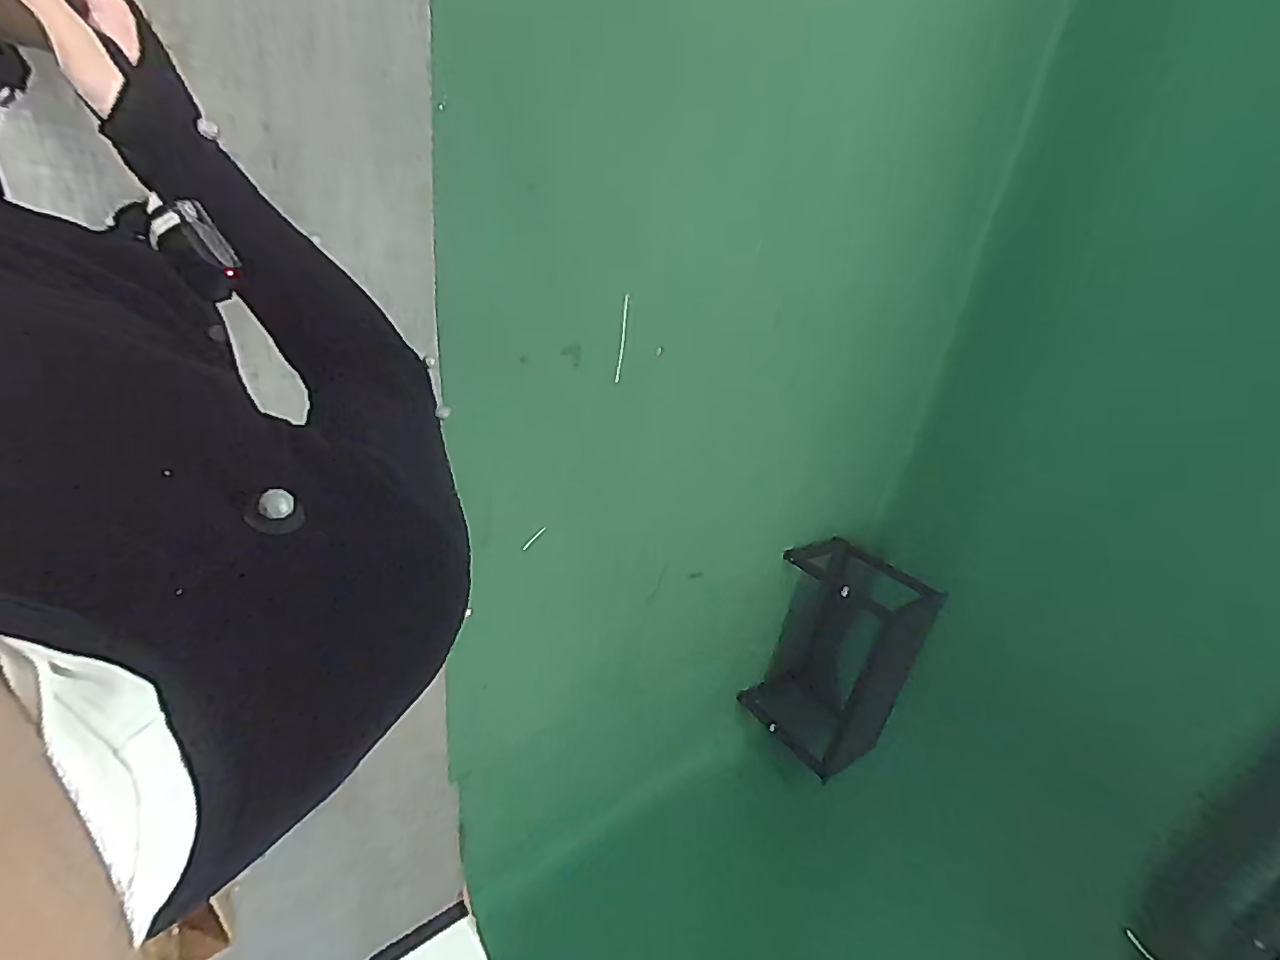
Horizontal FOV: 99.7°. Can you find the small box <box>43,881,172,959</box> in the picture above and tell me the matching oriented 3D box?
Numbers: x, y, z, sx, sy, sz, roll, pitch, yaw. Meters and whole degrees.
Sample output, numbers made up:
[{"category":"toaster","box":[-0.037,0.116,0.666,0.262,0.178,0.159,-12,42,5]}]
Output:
[{"category":"small box","box":[-1.185,1.056,1.208,0.179,0.176,0.168,-18,126,-32]}]

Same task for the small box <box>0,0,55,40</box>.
[{"category":"small box","box":[-0.522,-0.444,0.354,0.168,0.176,0.179,-11,111,-42]}]
